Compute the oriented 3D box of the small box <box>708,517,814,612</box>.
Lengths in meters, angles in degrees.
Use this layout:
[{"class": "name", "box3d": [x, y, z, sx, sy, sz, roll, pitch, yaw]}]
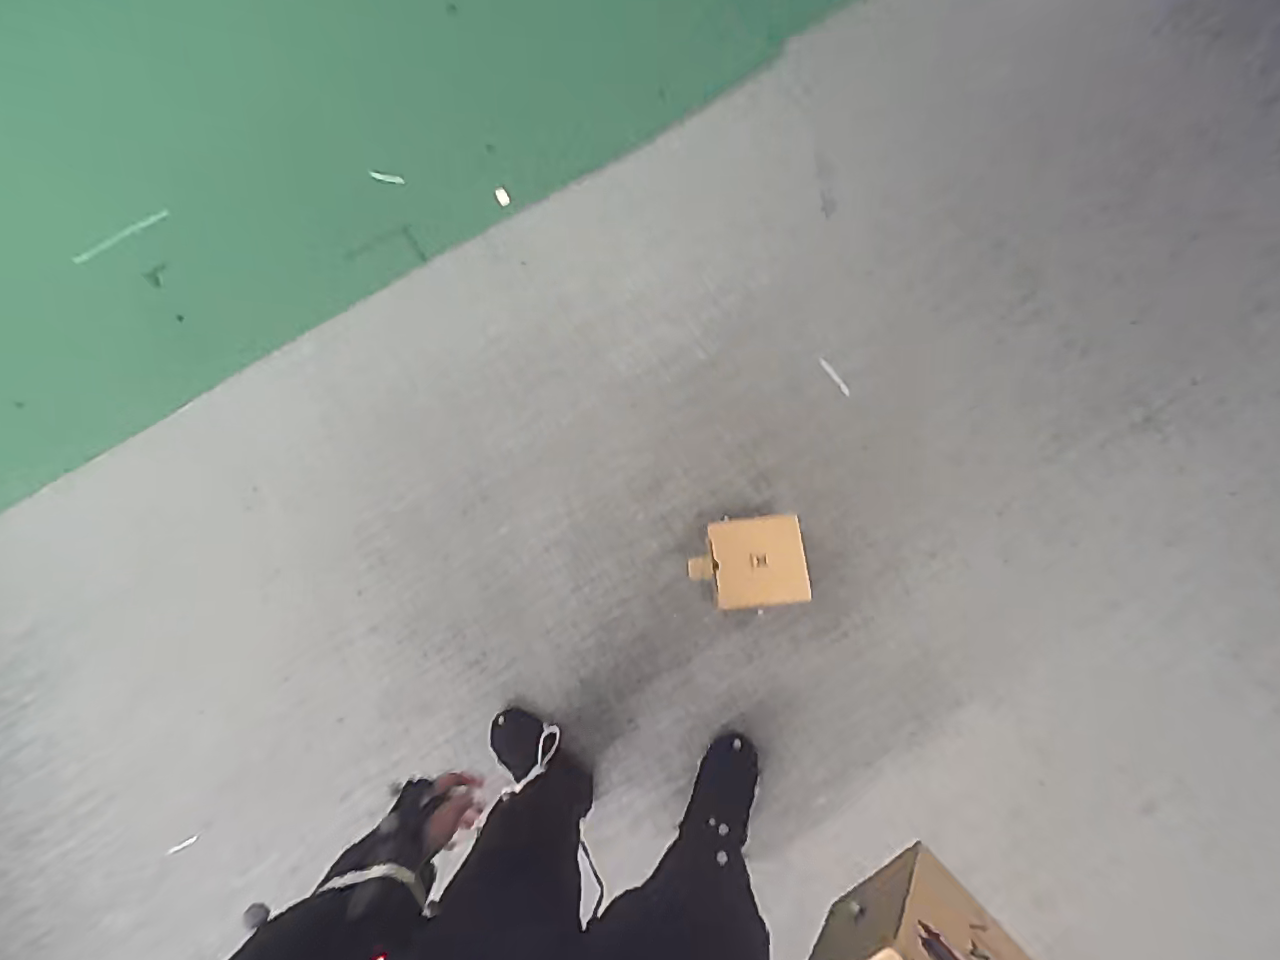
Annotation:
[{"class": "small box", "box3d": [0.236, 0.176, 1.099, 0.179, 0.176, 0.168, -7, 75, 5]}]
